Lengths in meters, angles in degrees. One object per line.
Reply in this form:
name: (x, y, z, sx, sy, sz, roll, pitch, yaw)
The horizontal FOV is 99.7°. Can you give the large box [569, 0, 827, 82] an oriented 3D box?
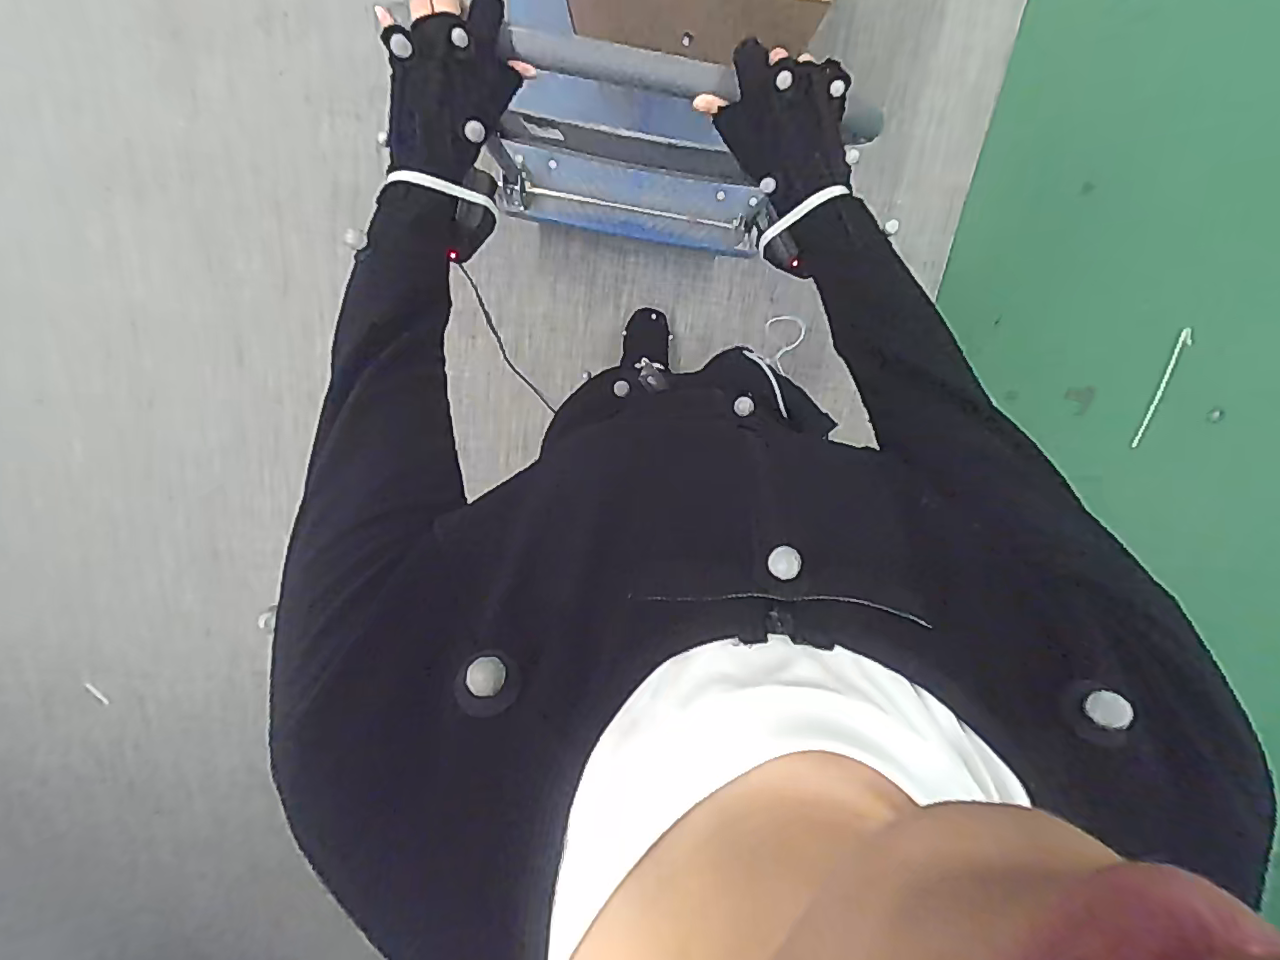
large box: (0.103, -0.908, 0.884, 0.408, 0.320, 0.320, 9, 107, -1)
